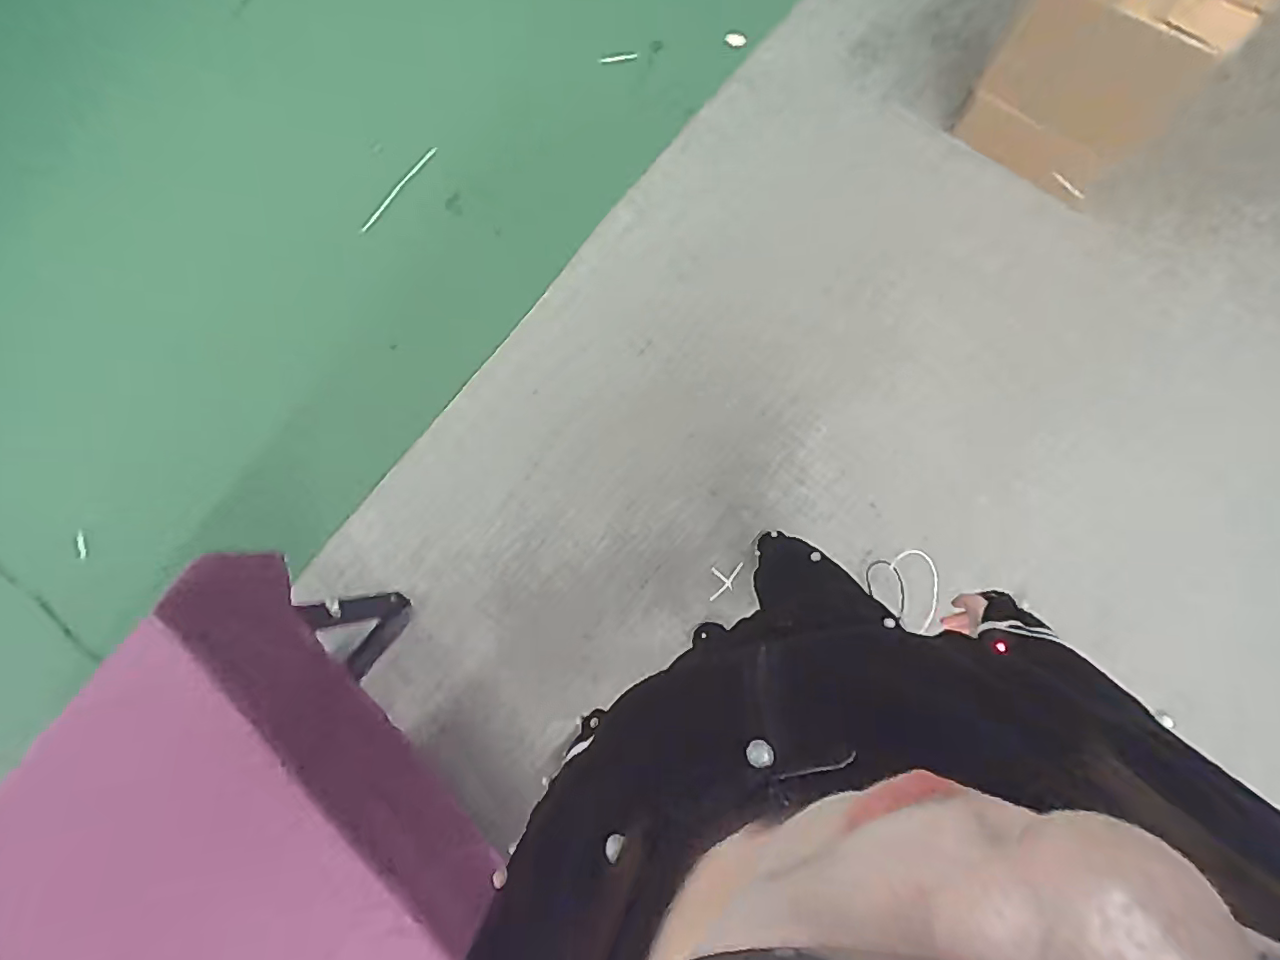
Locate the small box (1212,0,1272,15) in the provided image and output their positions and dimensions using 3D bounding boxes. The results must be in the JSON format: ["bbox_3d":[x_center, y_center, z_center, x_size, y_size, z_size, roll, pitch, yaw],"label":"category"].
[{"bbox_3d":[1.181,-1.032,0.998,0.168,0.176,0.179,36,90,12],"label":"small box"}]
